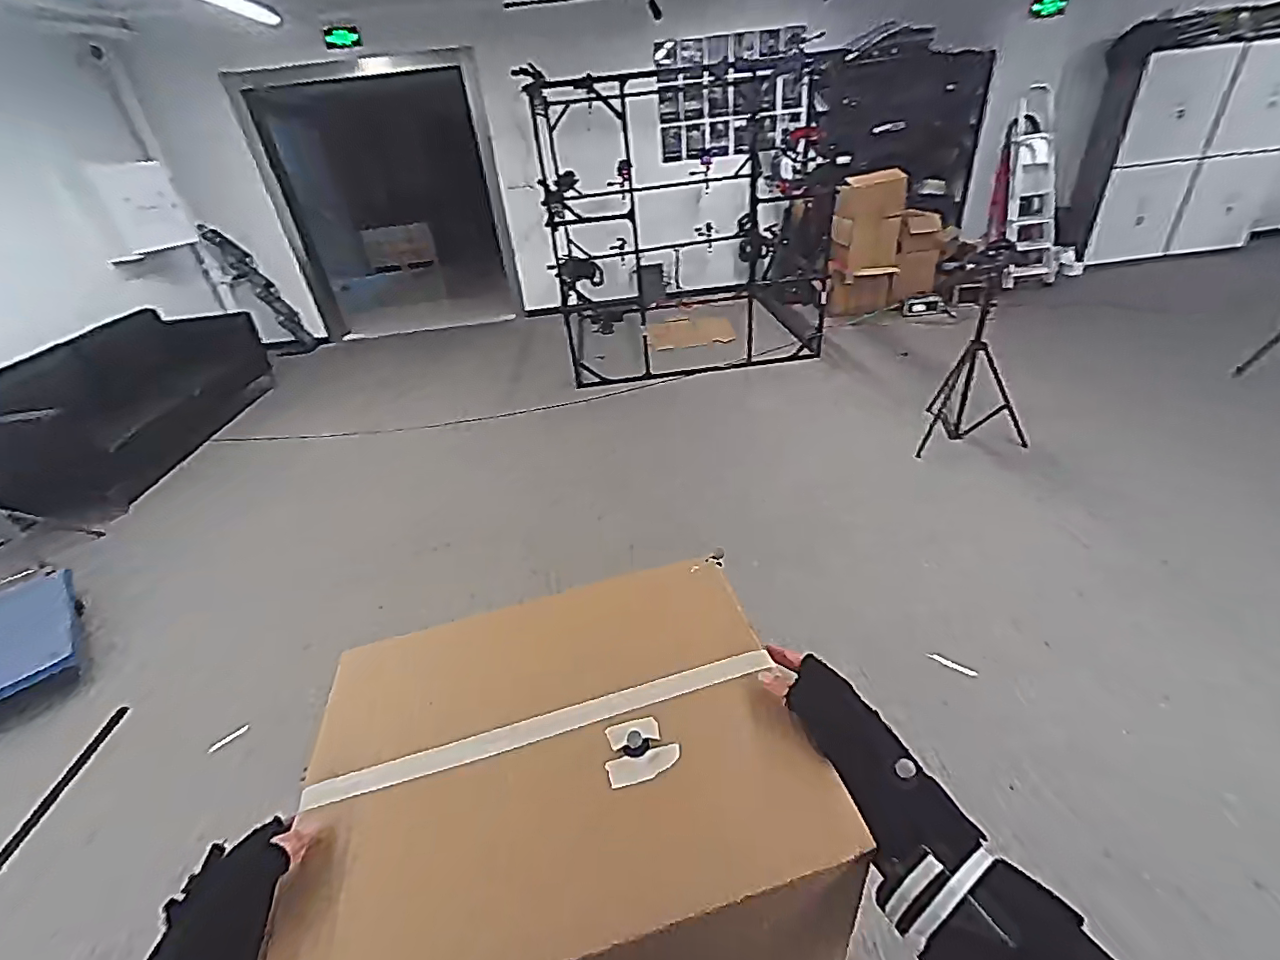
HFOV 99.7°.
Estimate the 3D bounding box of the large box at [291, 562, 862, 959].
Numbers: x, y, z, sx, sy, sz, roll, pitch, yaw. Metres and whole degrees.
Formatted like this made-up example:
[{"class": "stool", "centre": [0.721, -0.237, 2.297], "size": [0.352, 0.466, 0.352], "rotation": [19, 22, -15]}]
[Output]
[{"class": "large box", "centre": [-0.050, 0.339, 0.557], "size": [0.408, 0.320, 0.320], "rotation": [-13, 34, -8]}]
